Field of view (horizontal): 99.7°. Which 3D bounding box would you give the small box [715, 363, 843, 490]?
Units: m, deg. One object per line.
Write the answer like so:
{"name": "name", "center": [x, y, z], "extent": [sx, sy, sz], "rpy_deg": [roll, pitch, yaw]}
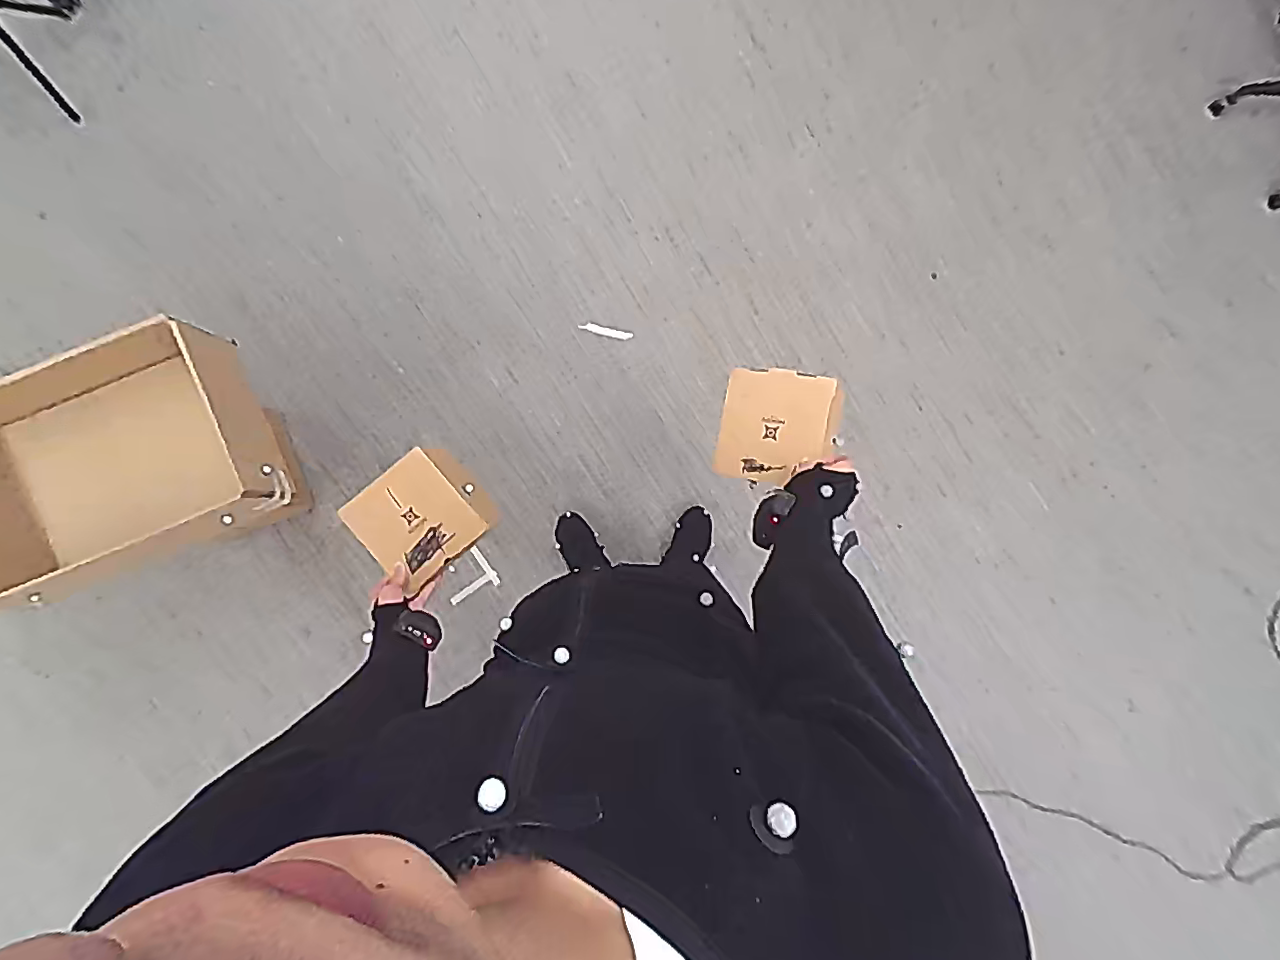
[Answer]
{"name": "small box", "center": [0.239, -0.083, 0.903], "extent": [0.168, 0.176, 0.179], "rpy_deg": [11, 93, 24]}

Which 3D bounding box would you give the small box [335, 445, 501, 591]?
{"name": "small box", "center": [-0.362, 0.056, 0.922], "extent": [0.168, 0.176, 0.179], "rpy_deg": [-40, 94, -3]}
